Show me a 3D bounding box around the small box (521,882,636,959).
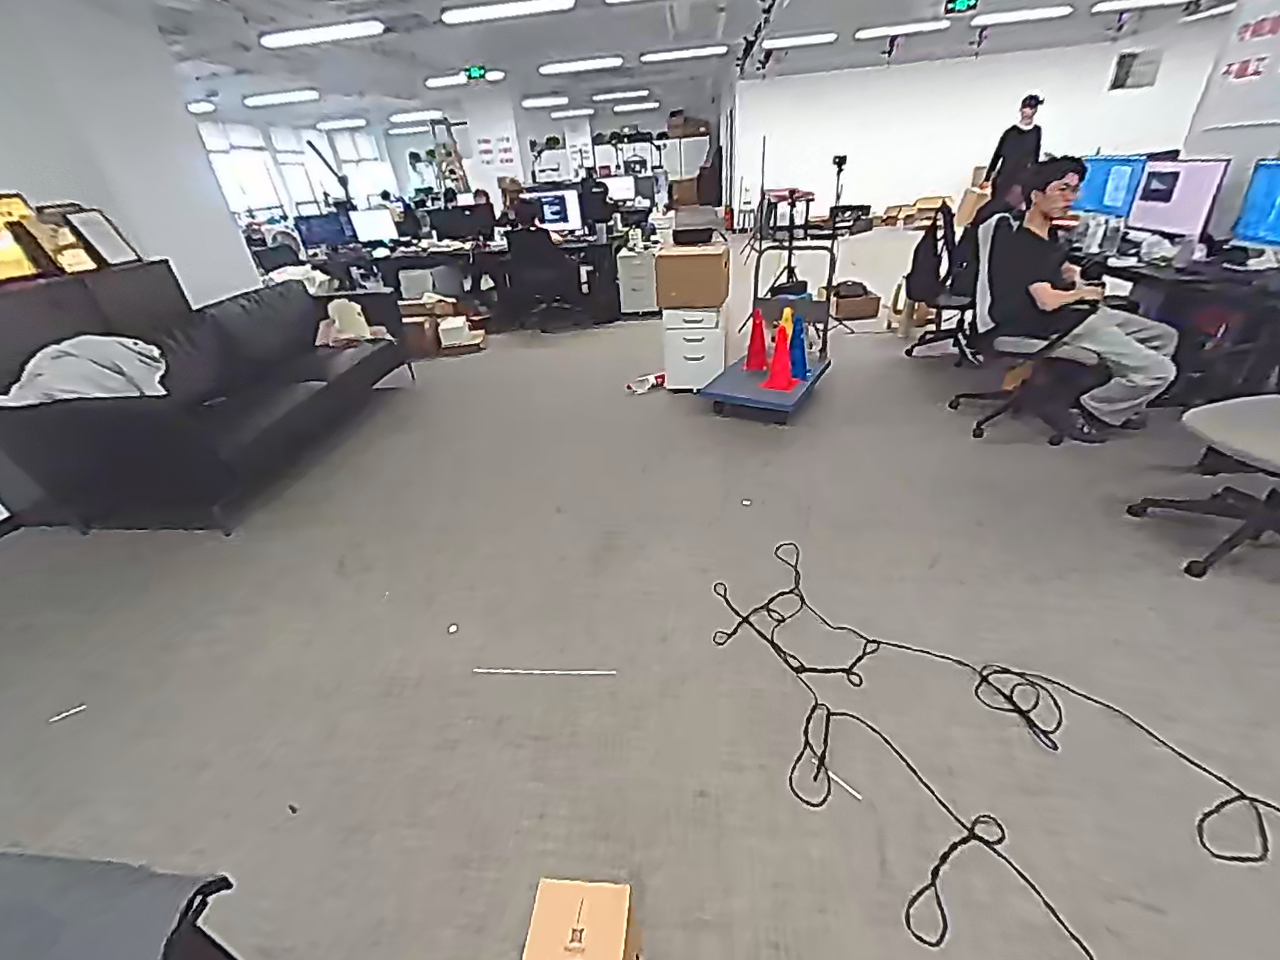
[{"bbox_3d":[-0.100,0.822,0.912,0.168,0.176,0.179,-1,30,7],"label":"small box"}]
